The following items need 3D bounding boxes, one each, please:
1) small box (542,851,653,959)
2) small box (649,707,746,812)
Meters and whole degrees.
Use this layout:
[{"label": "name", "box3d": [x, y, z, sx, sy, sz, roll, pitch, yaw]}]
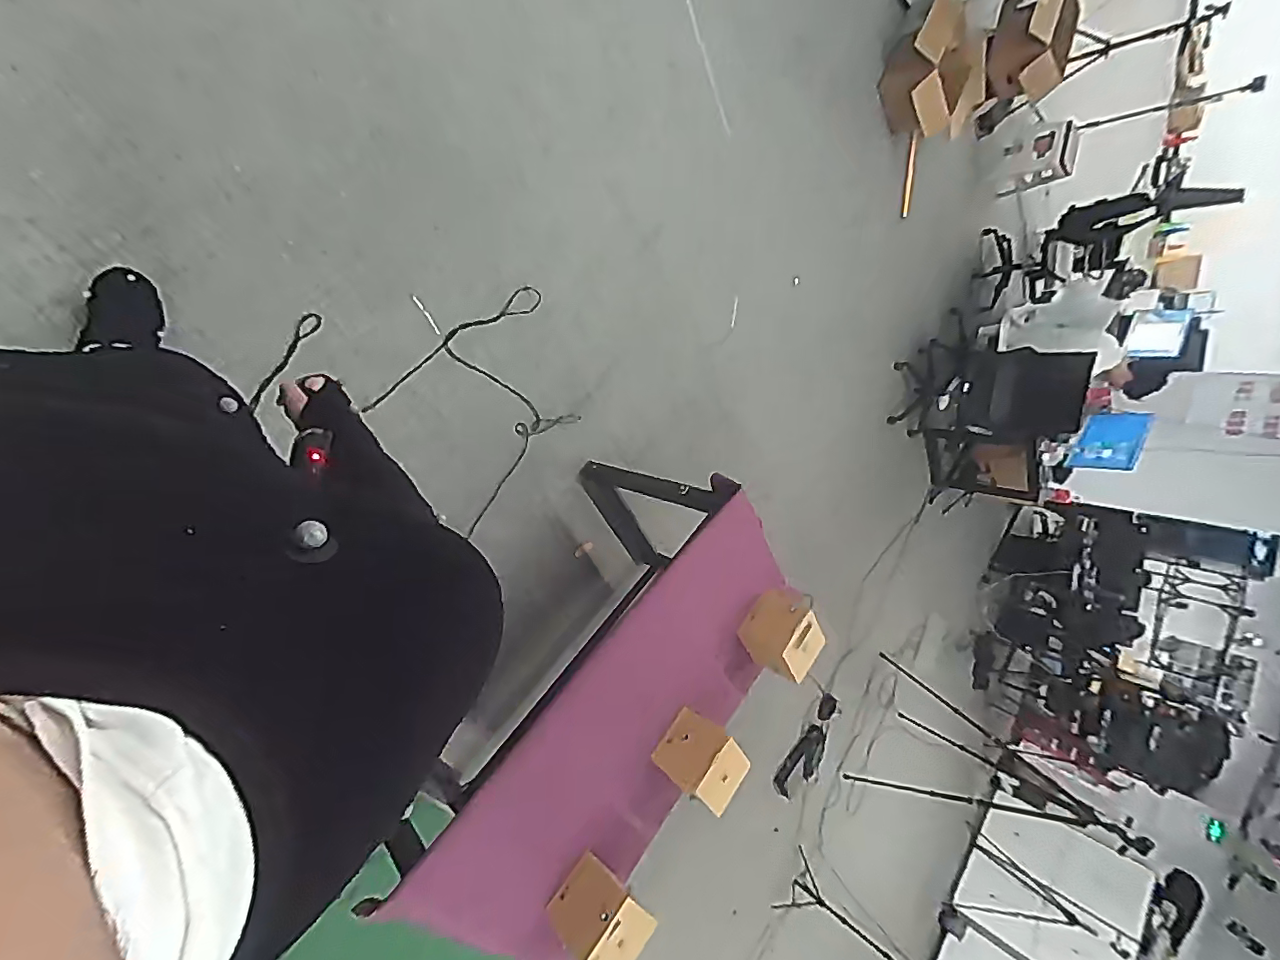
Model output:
[{"label": "small box", "box3d": [-0.104, 1.053, 1.314, 0.168, 0.176, 0.179, -46, 126, -27]}, {"label": "small box", "box3d": [0.159, 0.763, 1.493, 0.168, 0.176, 0.179, -48, 127, -23]}]
